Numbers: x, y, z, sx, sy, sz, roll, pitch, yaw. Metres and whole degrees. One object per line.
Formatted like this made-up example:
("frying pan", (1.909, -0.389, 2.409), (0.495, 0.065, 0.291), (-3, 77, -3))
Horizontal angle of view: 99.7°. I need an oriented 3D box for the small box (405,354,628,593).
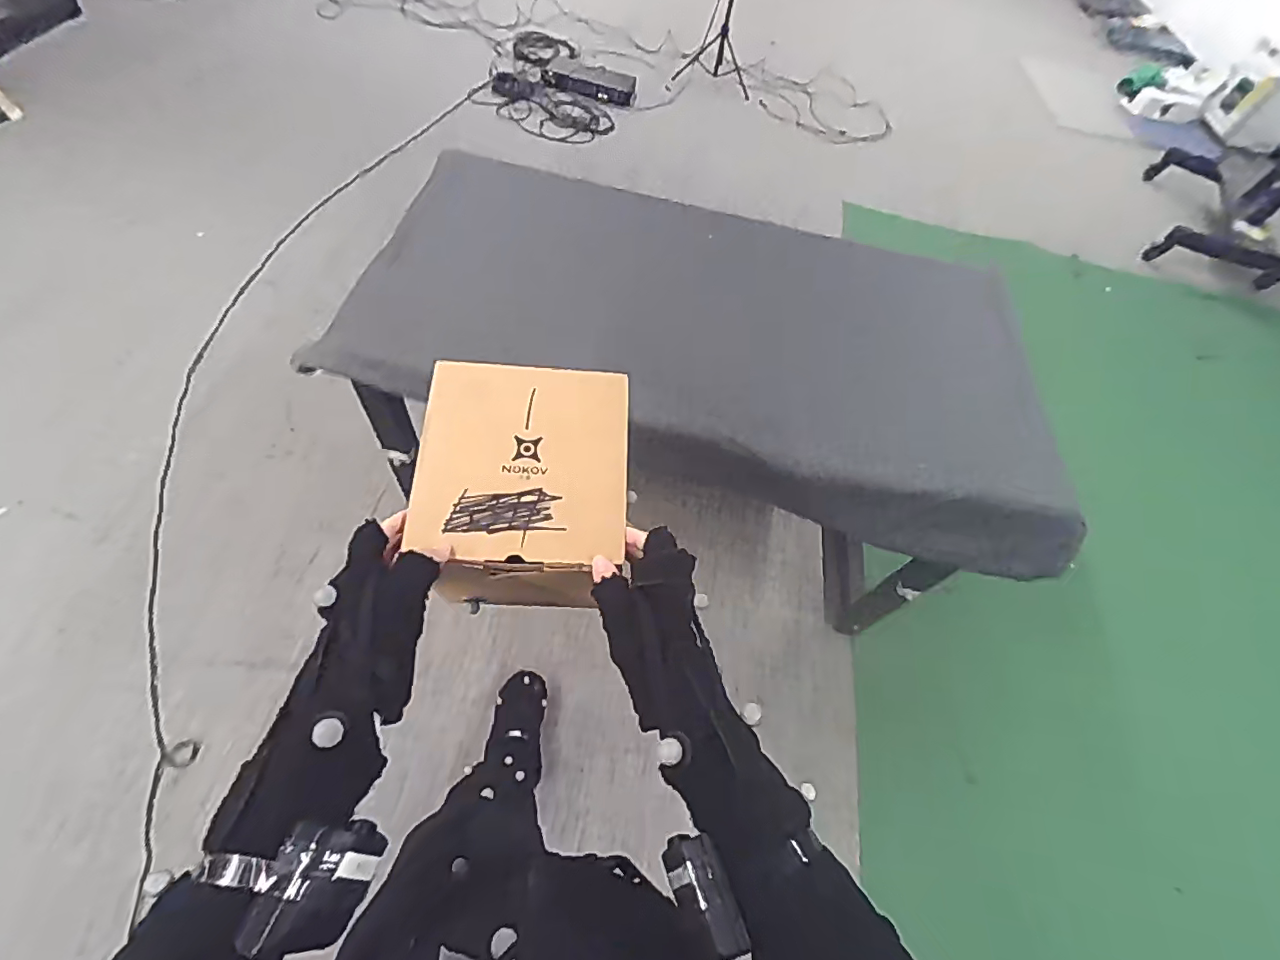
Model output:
("small box", (-0.102, 0.006, 0.515), (0.168, 0.176, 0.179), (3, 66, -6))
